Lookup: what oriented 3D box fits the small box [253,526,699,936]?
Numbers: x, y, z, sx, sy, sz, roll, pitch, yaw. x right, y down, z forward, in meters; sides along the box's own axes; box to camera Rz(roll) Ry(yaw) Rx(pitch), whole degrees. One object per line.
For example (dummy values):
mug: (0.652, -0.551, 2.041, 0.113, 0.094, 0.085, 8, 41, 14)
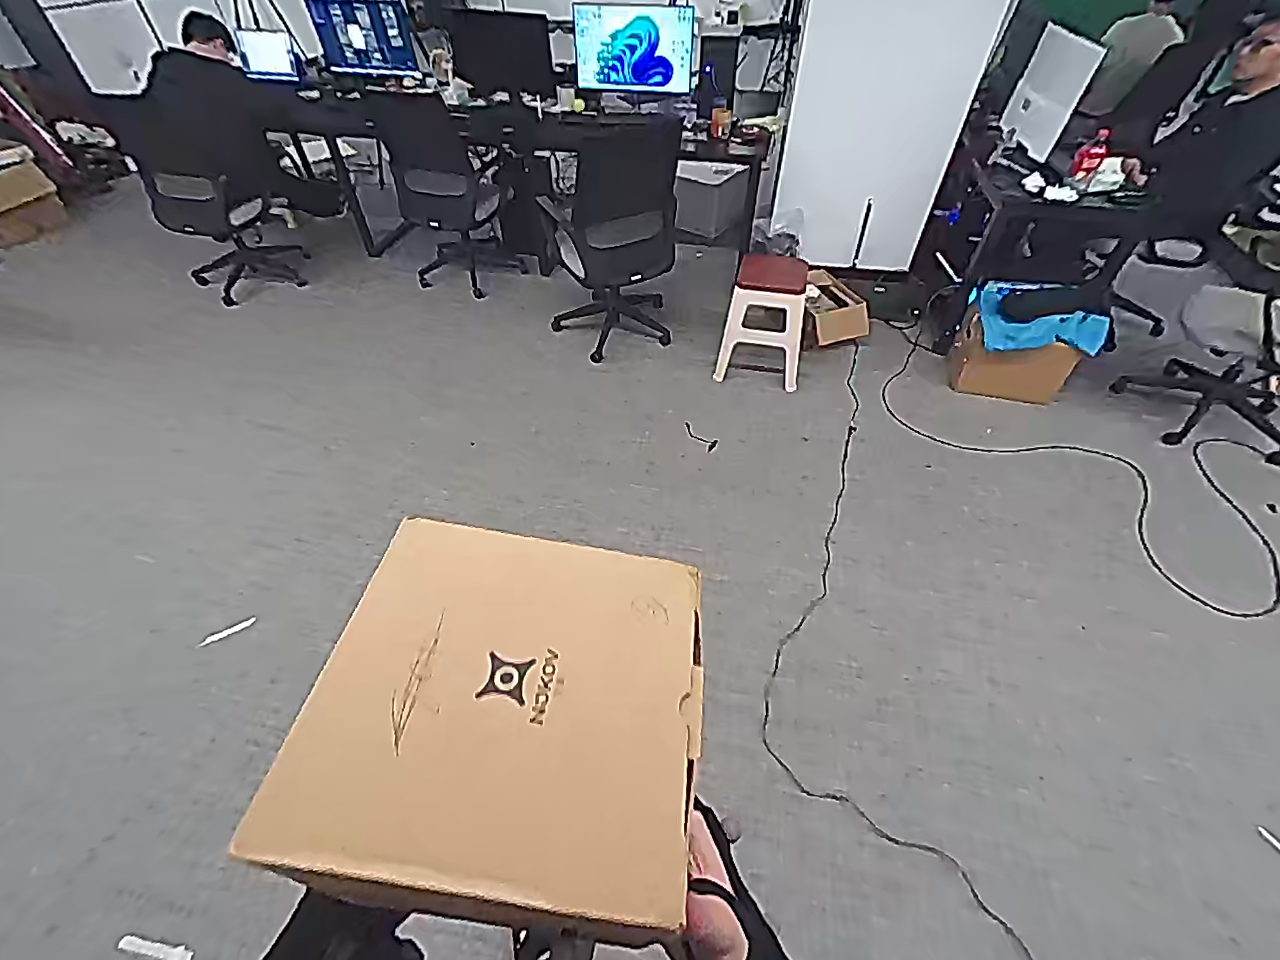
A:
small box: (-0.068, 0.154, 0.326, 0.179, 0.176, 0.168, 9, 45, 1)
